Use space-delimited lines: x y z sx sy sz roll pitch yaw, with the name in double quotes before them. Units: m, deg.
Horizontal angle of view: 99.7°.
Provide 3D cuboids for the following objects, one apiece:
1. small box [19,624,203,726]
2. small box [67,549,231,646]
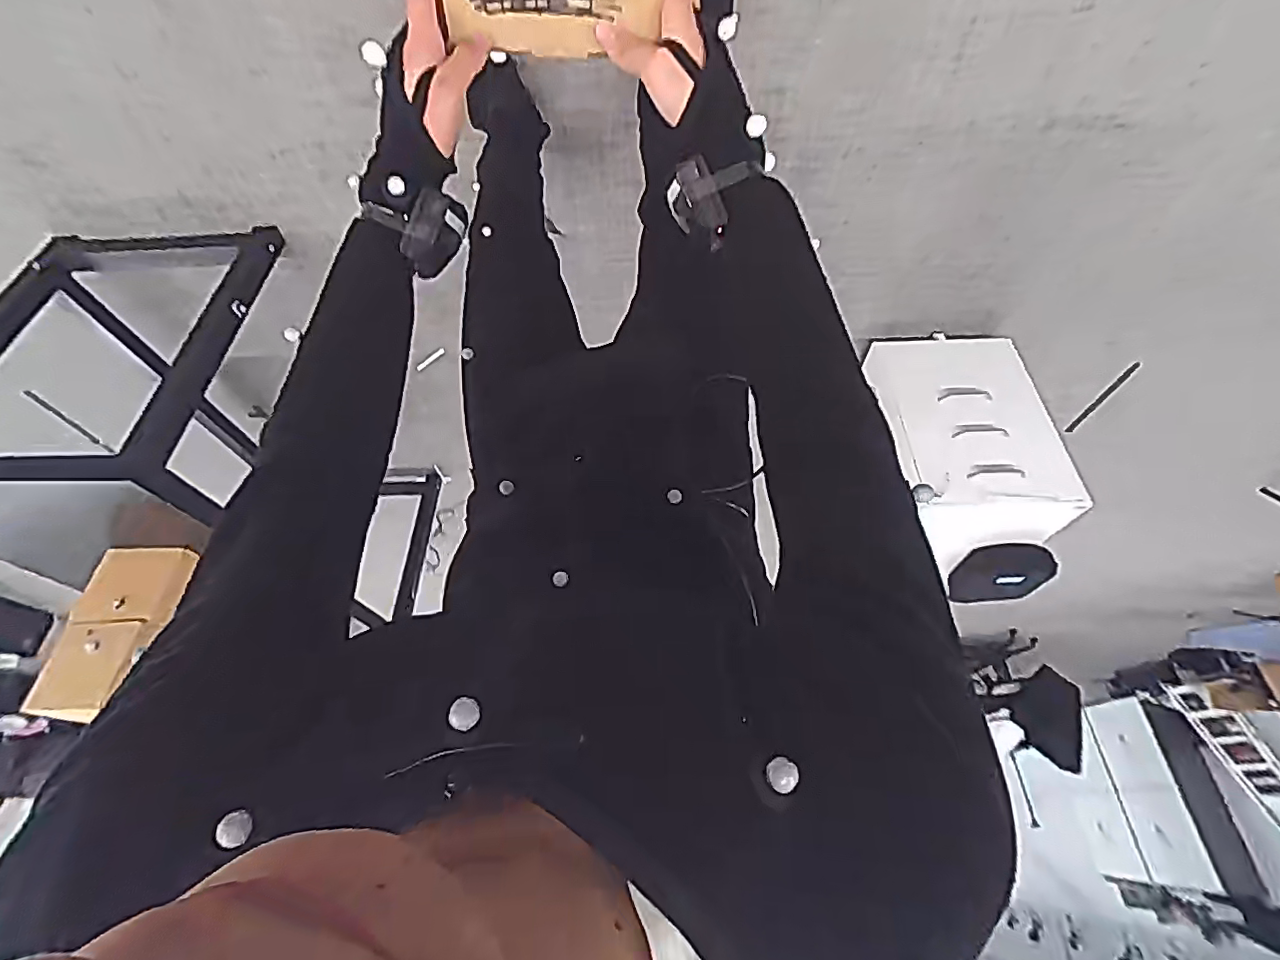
"small box" -1.054 0.398 1.100 0.168 0.176 0.179 -3 148 5
"small box" -1.060 0.258 1.187 0.179 0.176 0.168 -1 148 2
